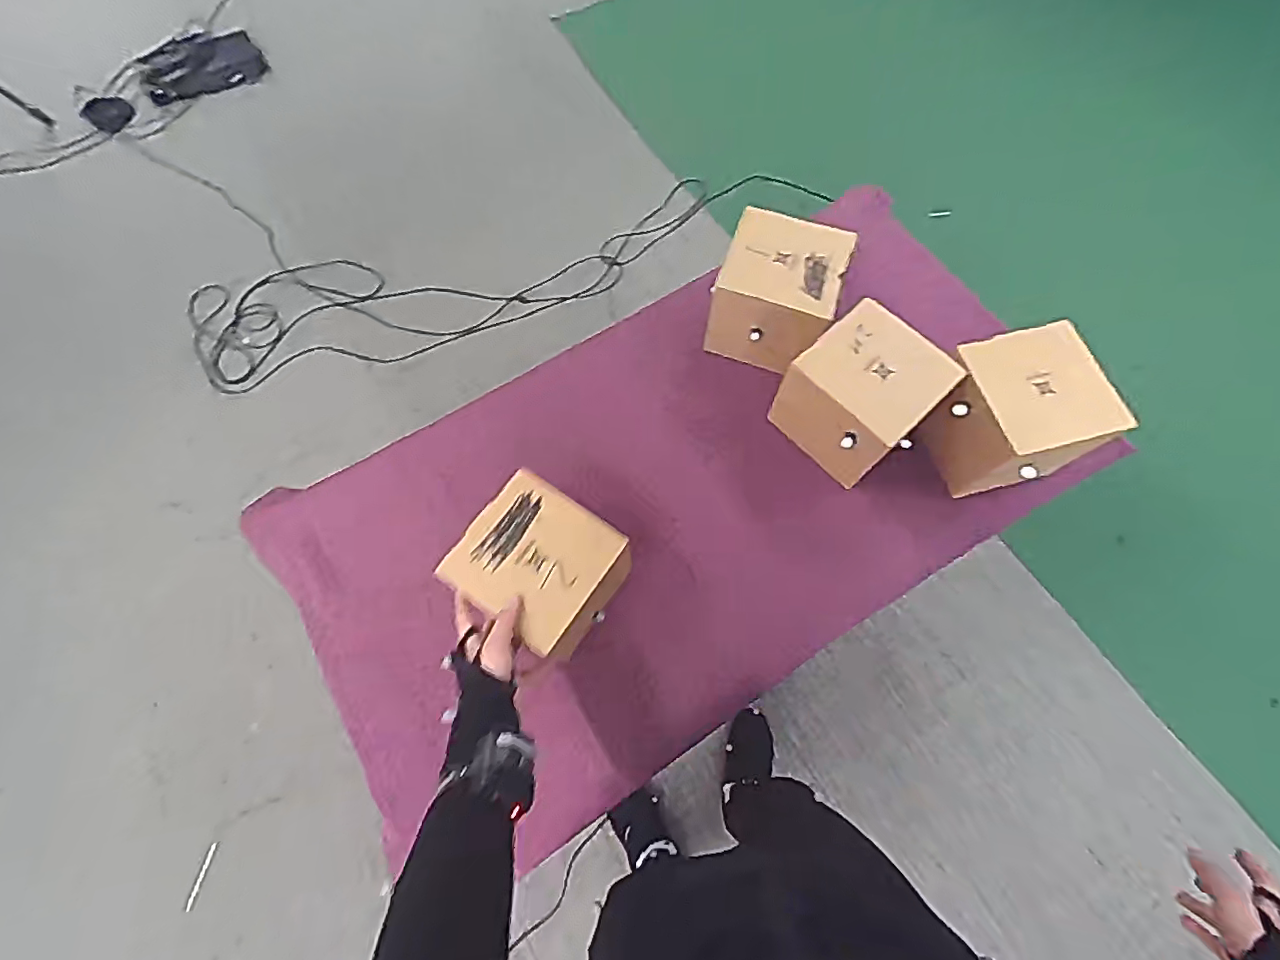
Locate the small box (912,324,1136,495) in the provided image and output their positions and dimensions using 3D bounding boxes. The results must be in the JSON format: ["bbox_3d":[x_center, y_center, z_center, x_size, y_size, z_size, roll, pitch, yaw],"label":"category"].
[{"bbox_3d":[0.535,-0.090,0.785,0.168,0.176,0.179,-14,68,-3],"label":"small box"}]
